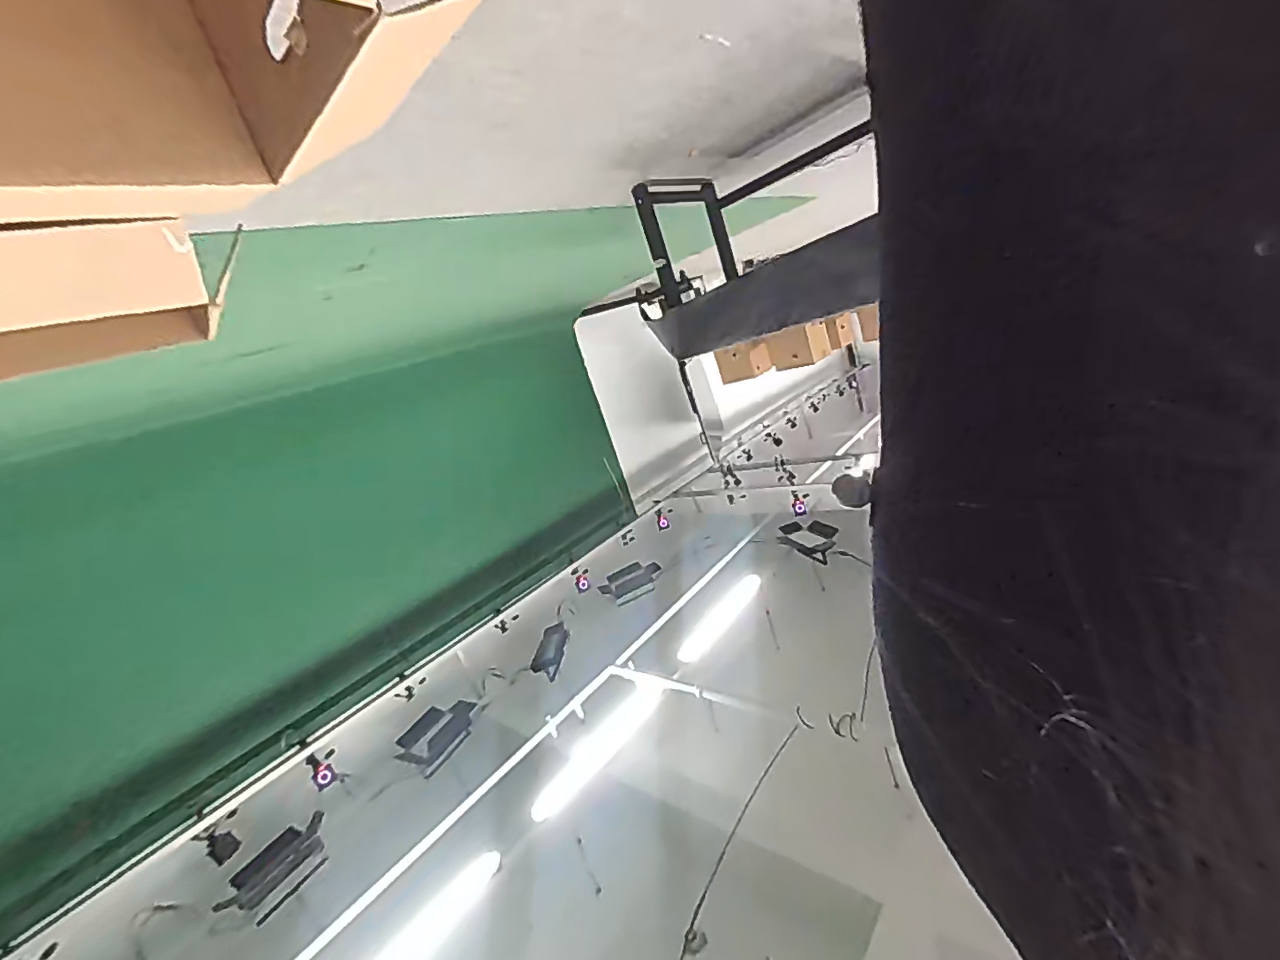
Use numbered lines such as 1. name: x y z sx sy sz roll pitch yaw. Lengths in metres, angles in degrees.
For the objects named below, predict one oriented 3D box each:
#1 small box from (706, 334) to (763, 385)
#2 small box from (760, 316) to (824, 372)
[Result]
1. small box: 0.415 -0.531 2.367 0.168 0.176 0.179 -8 -162 41
2. small box: 0.617 -0.558 2.201 0.179 0.176 0.168 -4 -160 46
